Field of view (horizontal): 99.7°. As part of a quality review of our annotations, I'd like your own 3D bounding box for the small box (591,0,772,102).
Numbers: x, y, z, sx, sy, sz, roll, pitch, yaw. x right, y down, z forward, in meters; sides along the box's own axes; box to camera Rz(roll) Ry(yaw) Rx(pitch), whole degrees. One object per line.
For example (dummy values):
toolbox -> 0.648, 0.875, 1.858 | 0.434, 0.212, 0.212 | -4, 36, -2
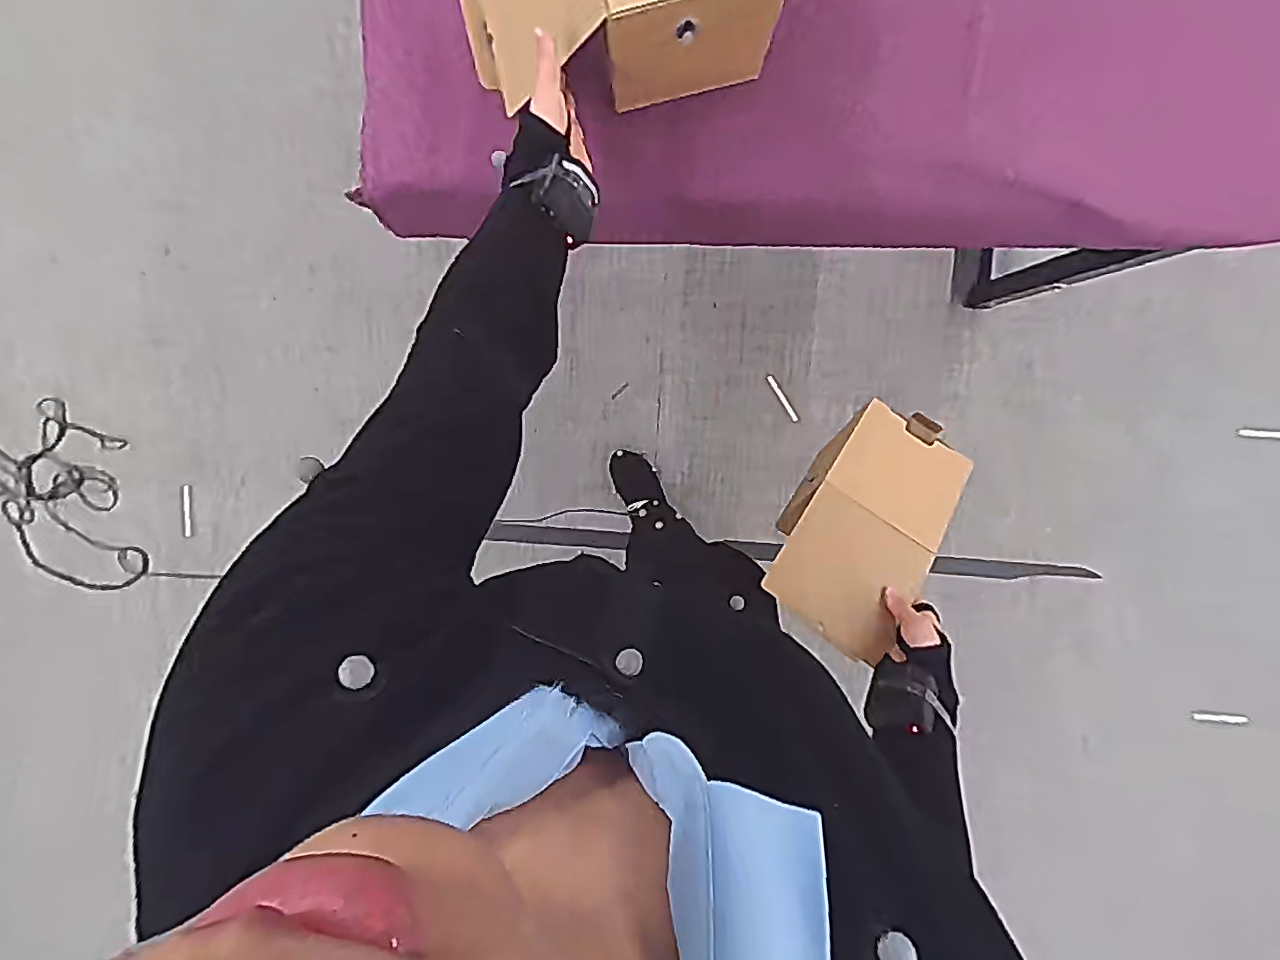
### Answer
small box -> 0.034, -0.522, 0.545 | 0.179, 0.176, 0.168 | -12, 98, 2
